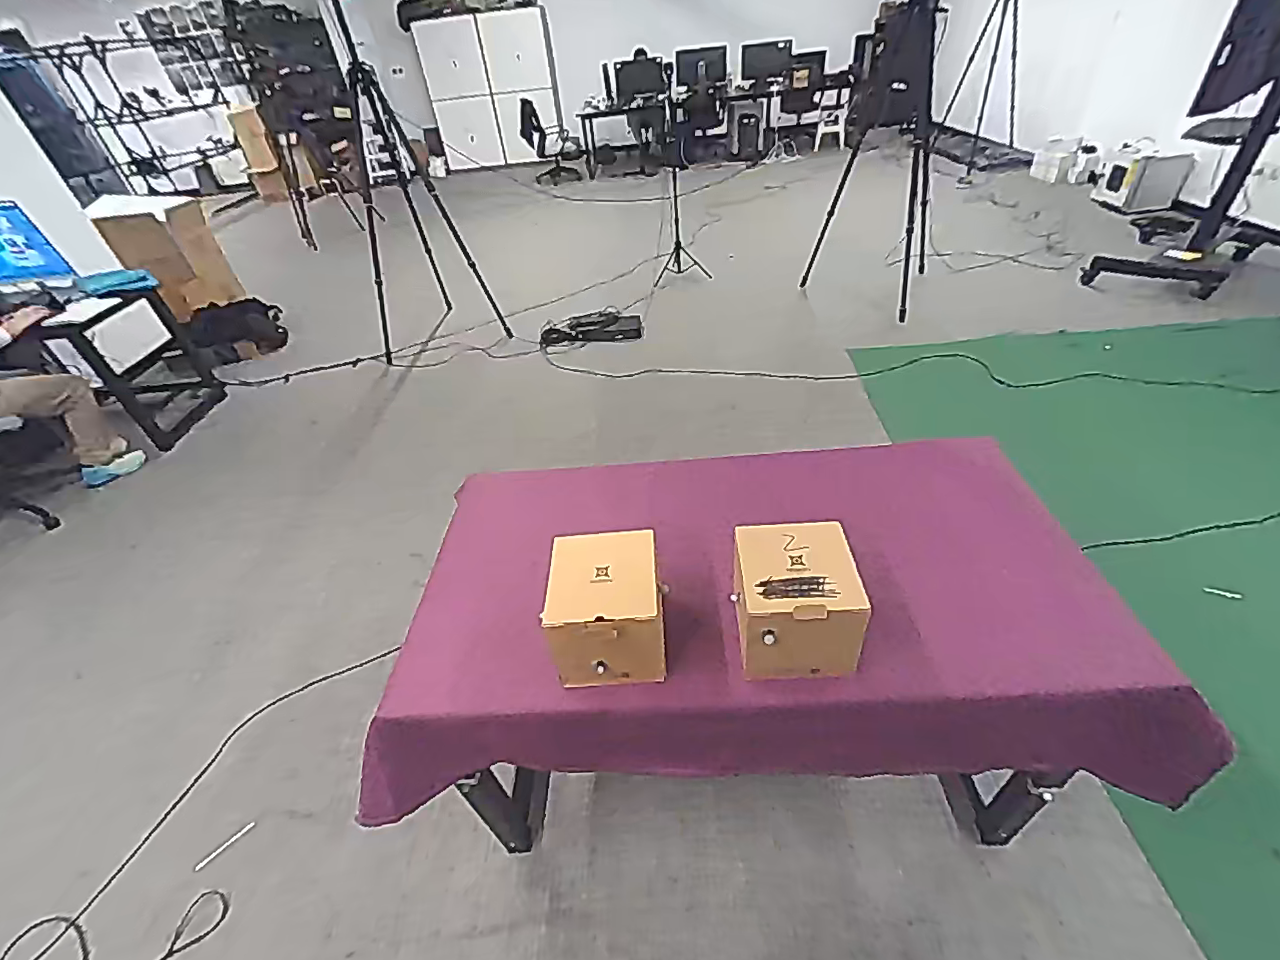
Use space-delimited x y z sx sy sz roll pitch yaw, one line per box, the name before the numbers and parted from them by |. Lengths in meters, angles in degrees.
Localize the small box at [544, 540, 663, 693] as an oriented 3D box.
small box | -0.052 0.221 0.884 0.168 0.176 0.179 -6 40 3
